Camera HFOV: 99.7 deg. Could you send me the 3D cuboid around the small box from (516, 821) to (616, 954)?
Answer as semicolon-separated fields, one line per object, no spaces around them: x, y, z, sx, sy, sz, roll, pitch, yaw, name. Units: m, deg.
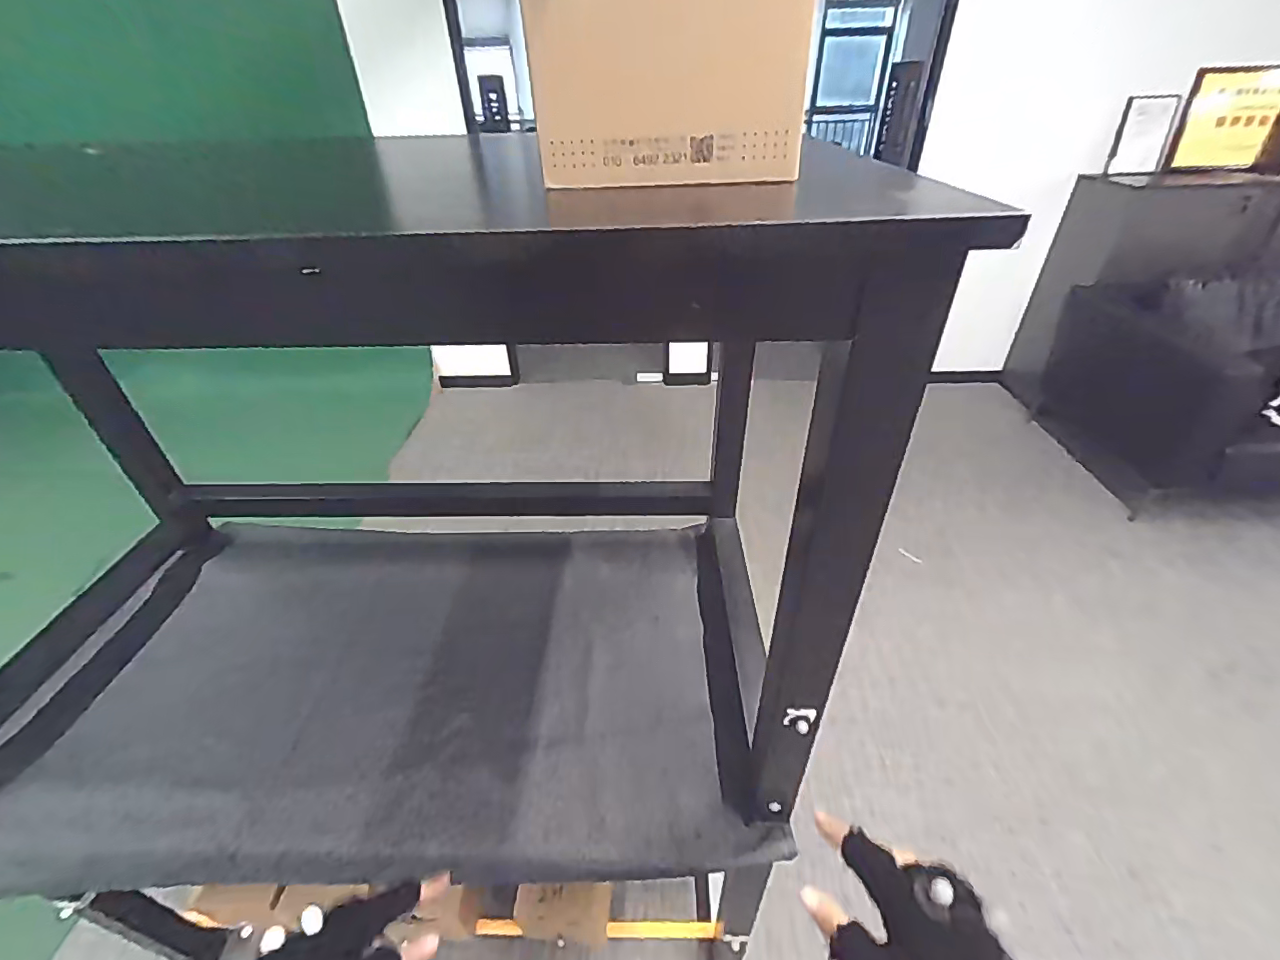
-0.143;0.846;1.126;0.168;0.176;0.179;2;38;6;small box
